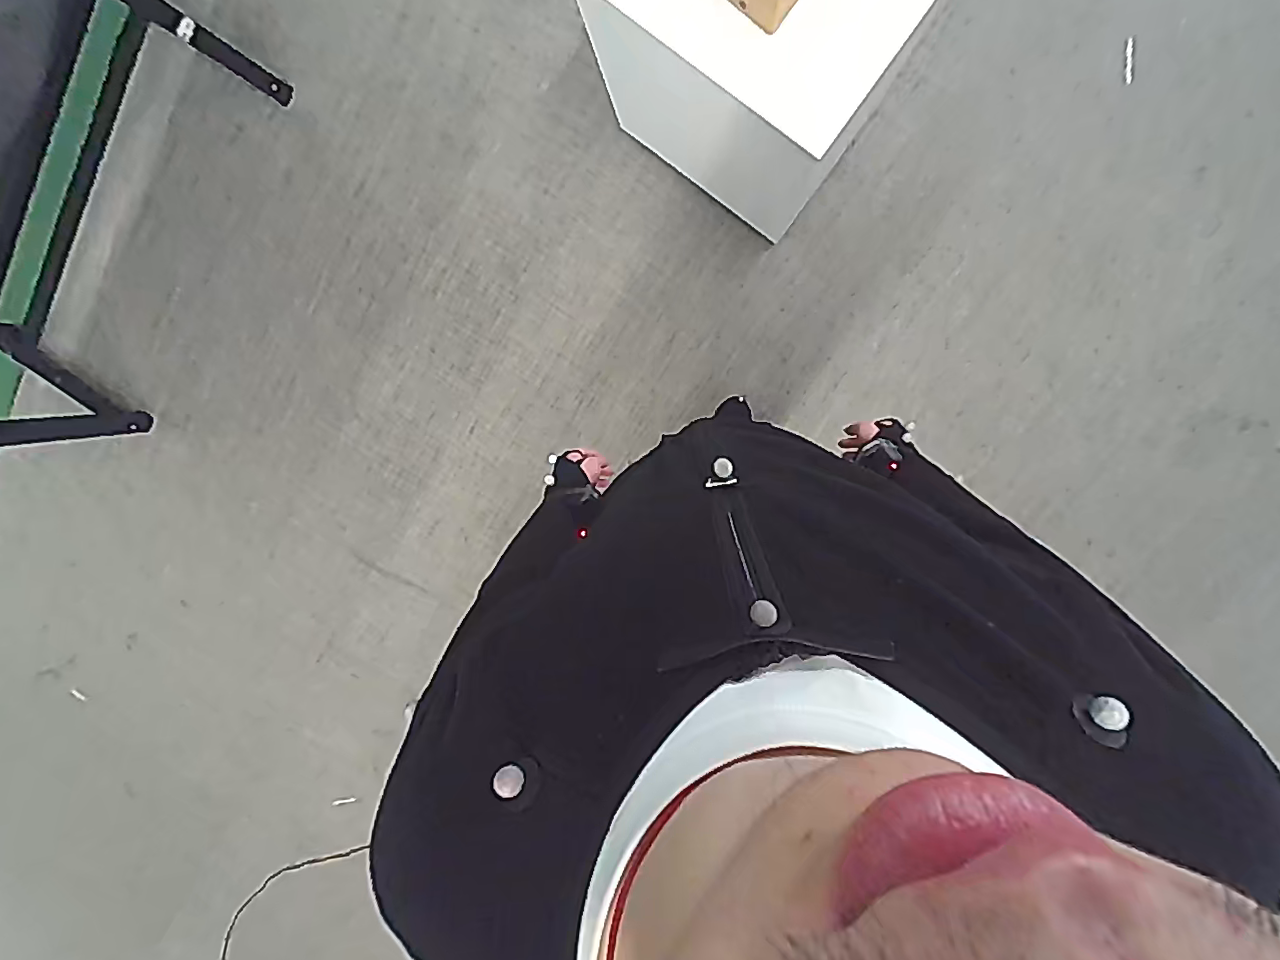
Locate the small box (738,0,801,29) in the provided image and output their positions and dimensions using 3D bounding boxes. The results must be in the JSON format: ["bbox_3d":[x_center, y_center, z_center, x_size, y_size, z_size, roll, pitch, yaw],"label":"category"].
[{"bbox_3d":[0.188,-0.791,0.744,0.168,0.176,0.179,37,102,0],"label":"small box"}]
